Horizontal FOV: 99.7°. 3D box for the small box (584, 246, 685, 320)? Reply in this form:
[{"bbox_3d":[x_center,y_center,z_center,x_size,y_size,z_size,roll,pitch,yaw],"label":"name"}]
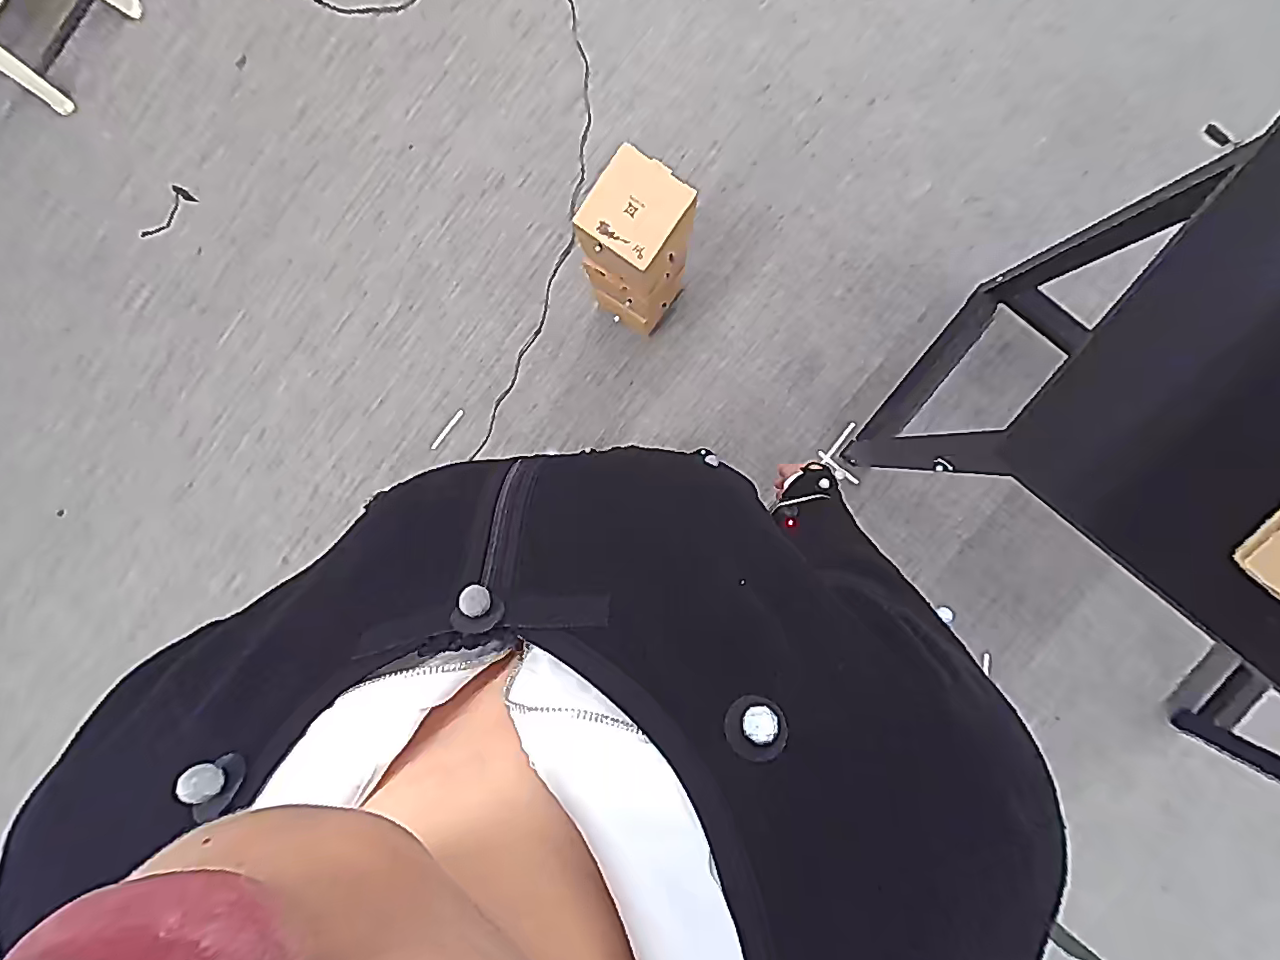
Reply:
[{"bbox_3d":[-0.006,-0.494,1.235,0.168,0.176,0.179,32,92,0],"label":"small box"}]

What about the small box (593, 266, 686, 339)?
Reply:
[{"bbox_3d":[0.000,-0.493,1.397,0.168,0.176,0.179,35,94,1],"label":"small box"}]

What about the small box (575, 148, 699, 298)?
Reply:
[{"bbox_3d":[-0.005,-0.496,1.070,0.168,0.176,0.179,35,93,1],"label":"small box"}]
